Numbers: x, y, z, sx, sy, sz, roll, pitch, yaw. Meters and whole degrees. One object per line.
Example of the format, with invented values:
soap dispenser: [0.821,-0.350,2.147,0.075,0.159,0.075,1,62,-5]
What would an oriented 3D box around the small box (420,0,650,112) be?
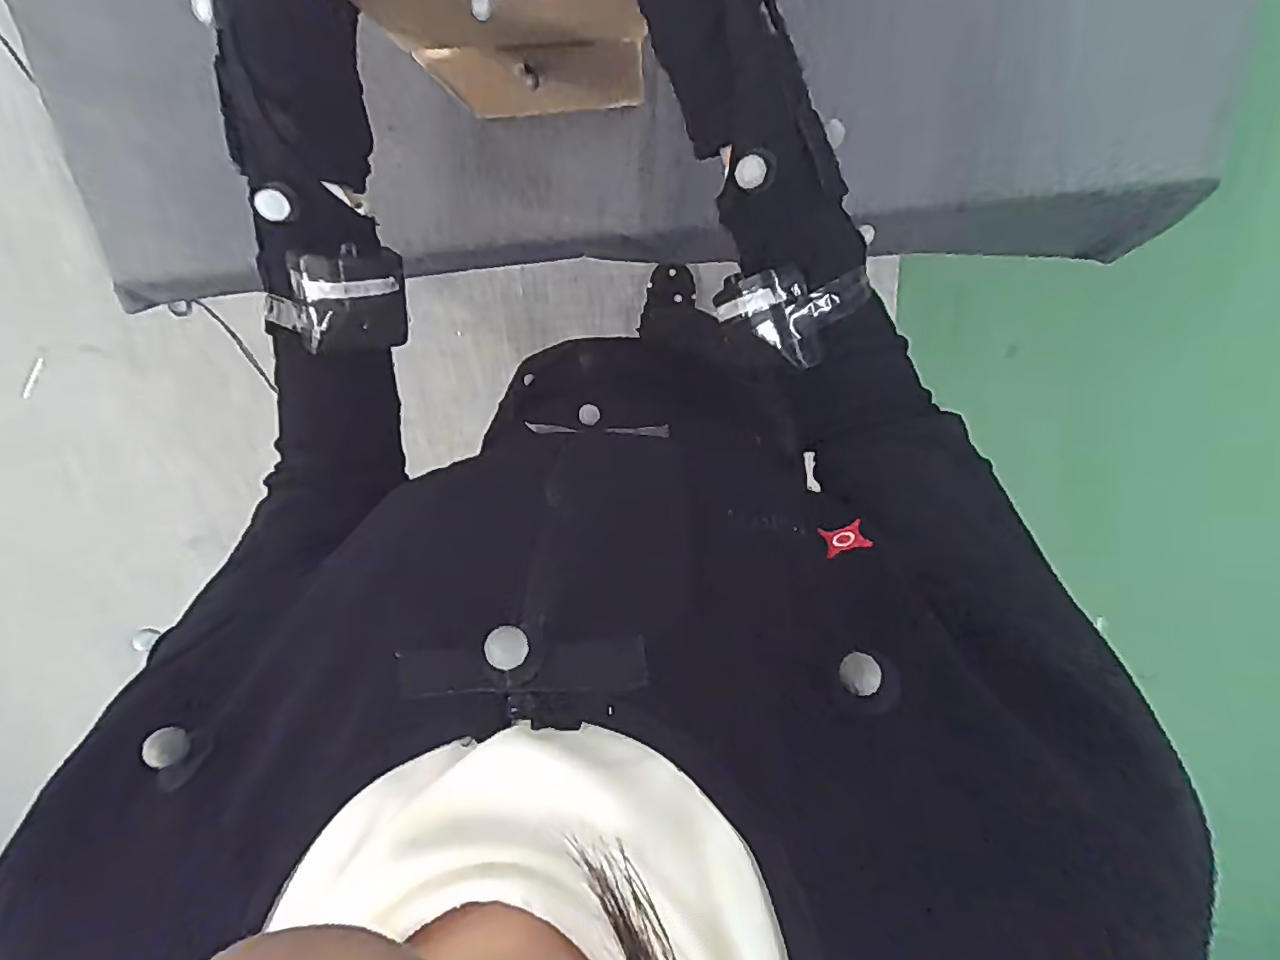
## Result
small box: [-0.084,-0.431,0.455,0.179,0.176,0.168,-3,112,3]

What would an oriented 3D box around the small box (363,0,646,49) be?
small box: [-0.082,-0.355,0.281,0.179,0.176,0.168,-3,113,2]
